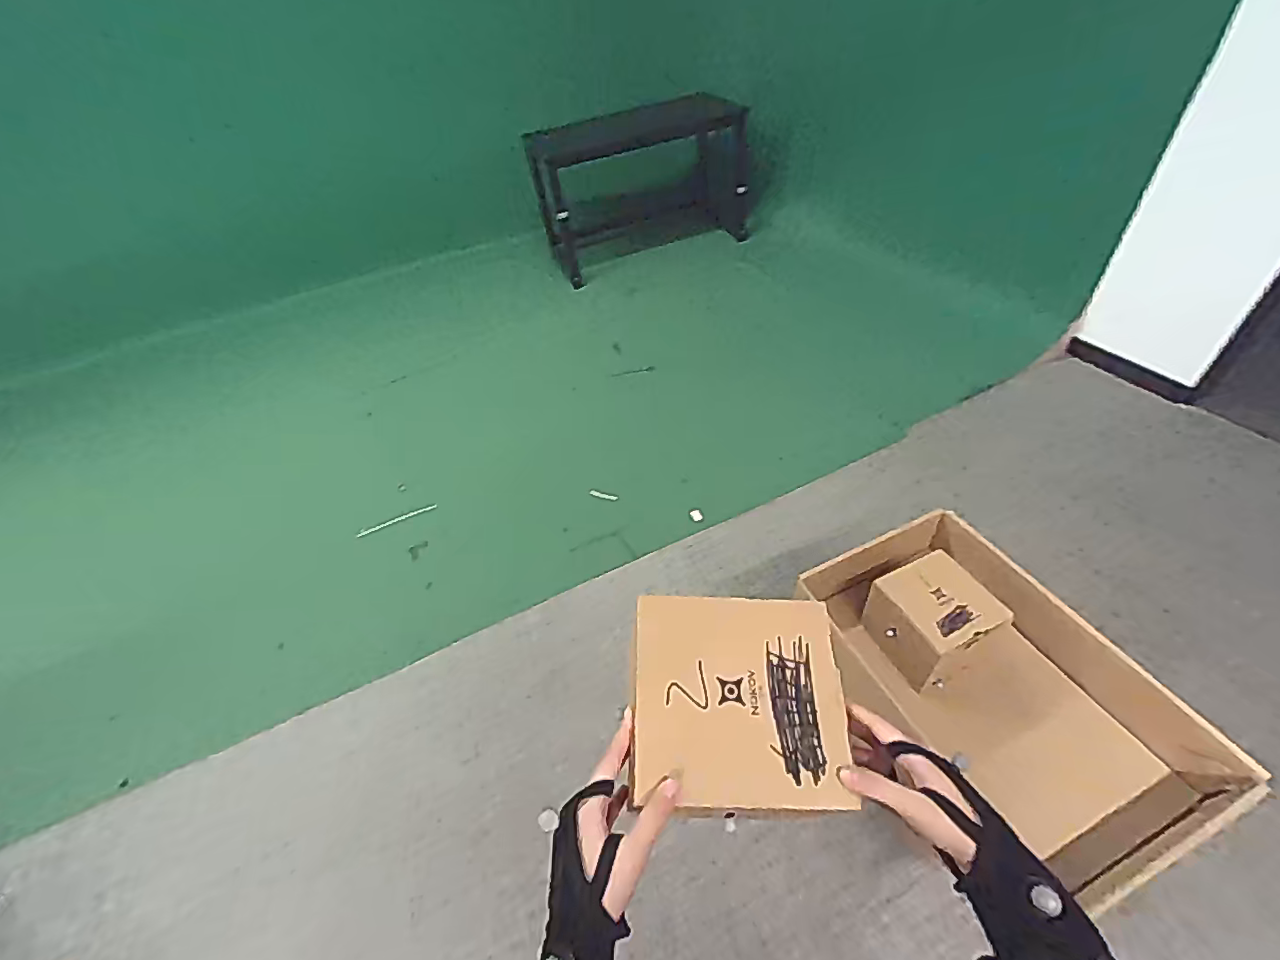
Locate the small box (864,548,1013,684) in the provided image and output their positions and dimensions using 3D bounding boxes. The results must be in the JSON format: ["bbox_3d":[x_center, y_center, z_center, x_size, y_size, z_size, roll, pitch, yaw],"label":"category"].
[{"bbox_3d":[0.568,0.272,1.056,0.168,0.176,0.179,-21,45,-11],"label":"small box"}]
